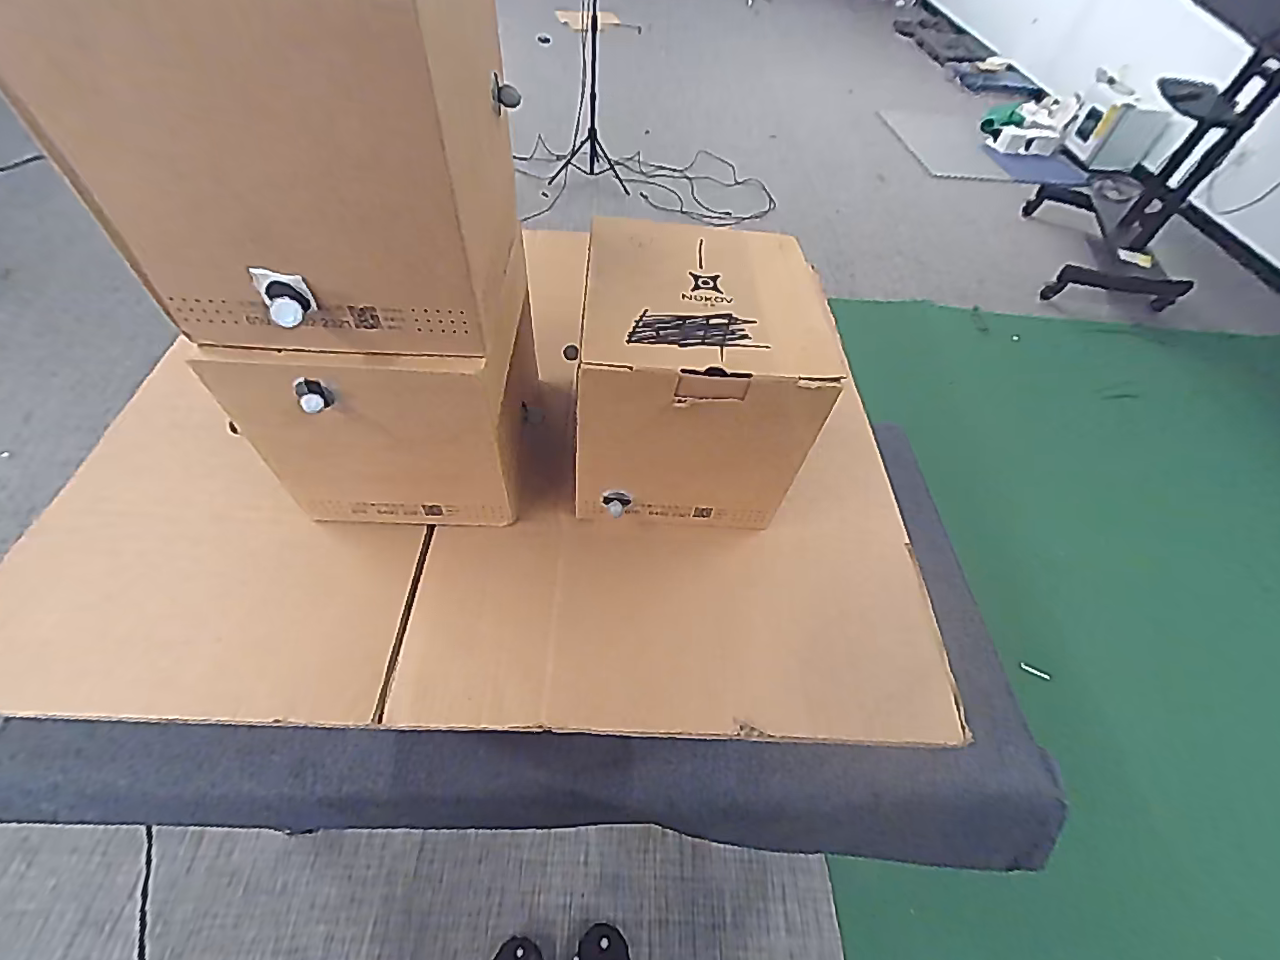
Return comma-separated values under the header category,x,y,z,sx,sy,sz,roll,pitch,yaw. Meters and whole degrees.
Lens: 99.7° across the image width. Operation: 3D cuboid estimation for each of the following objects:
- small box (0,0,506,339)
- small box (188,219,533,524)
category,x,y,z,sx,sy,sz,roll,pitch,yaw
small box,-0.169,-0.199,0.286,0.168,0.176,0.179,0,55,-5
small box,-0.181,-0.086,0.423,0.168,0.176,0.179,2,53,-2
